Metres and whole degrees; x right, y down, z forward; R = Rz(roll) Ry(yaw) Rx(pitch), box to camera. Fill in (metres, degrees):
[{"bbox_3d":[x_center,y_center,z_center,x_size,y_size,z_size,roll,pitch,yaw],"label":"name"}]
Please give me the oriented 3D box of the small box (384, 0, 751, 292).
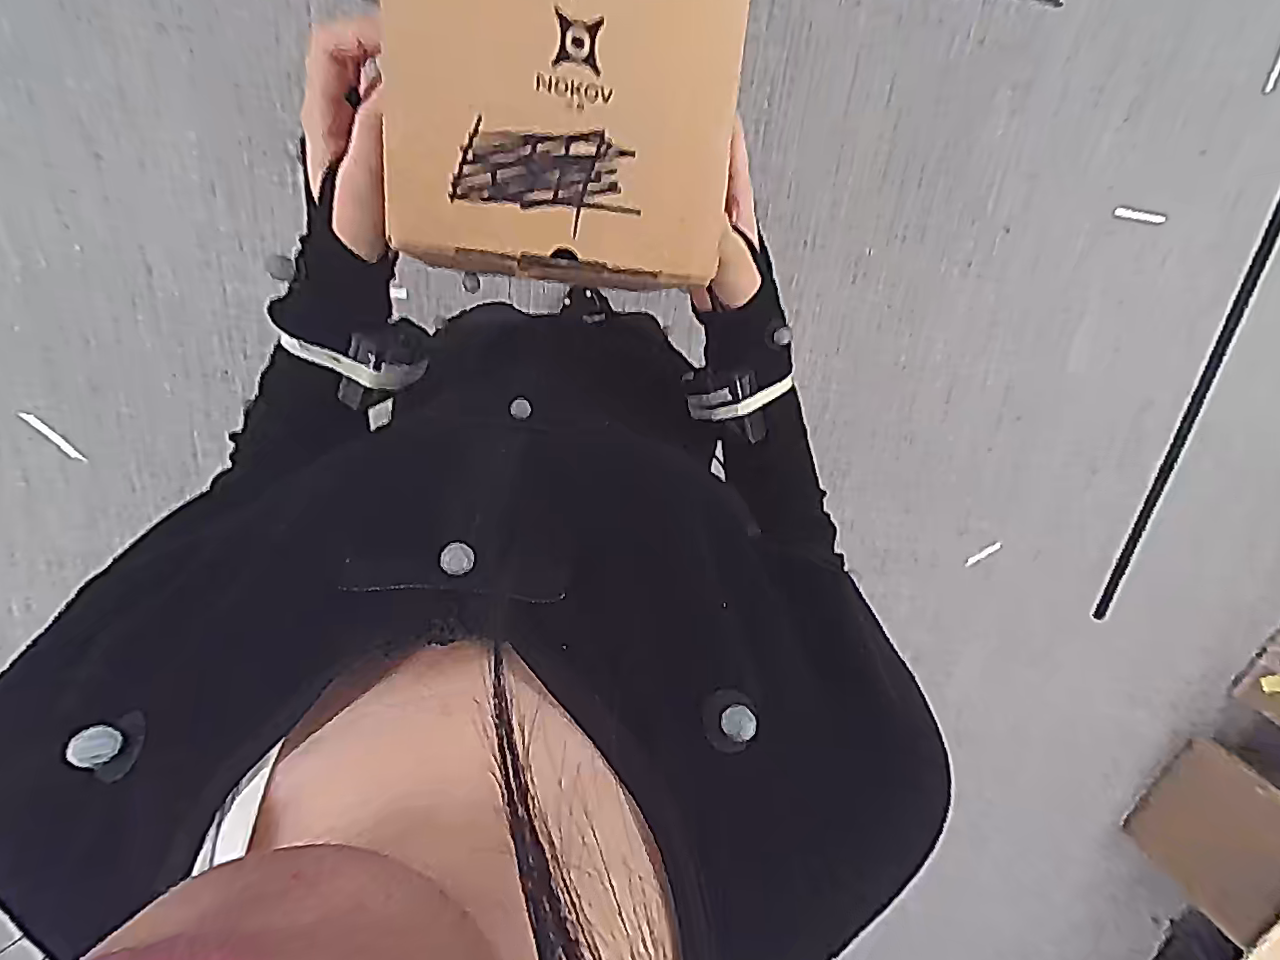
[{"bbox_3d":[-0.049,-0.214,0.325,0.168,0.176,0.179,1,105,-15],"label":"small box"}]
